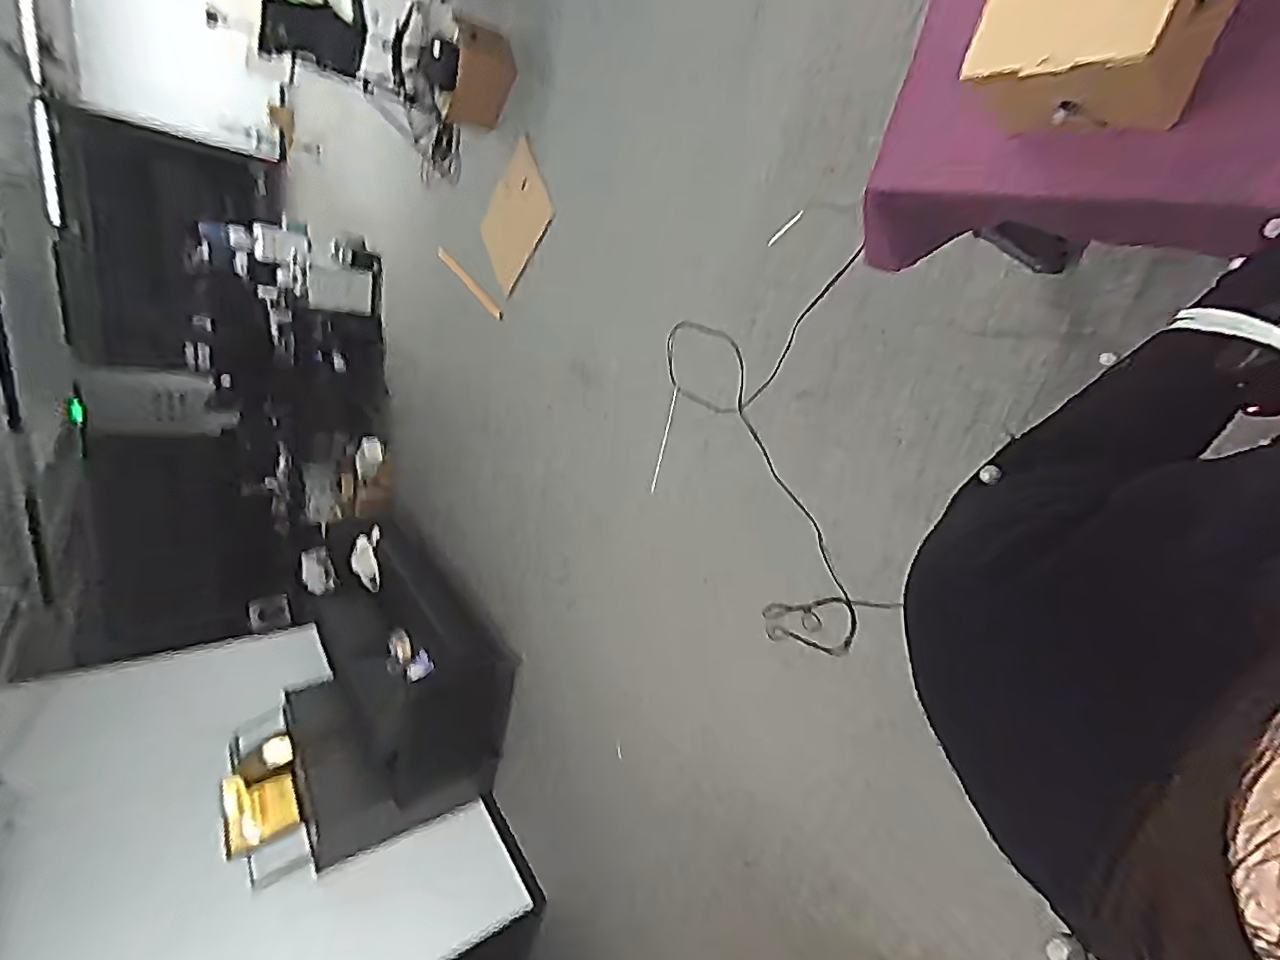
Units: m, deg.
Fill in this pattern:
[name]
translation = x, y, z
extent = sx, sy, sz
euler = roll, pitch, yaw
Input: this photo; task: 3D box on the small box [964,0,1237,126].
[small box]
translation = 0.480, -0.483, 0.552
extent = 0.168, 0.176, 0.179
euler = 35, 119, 43
